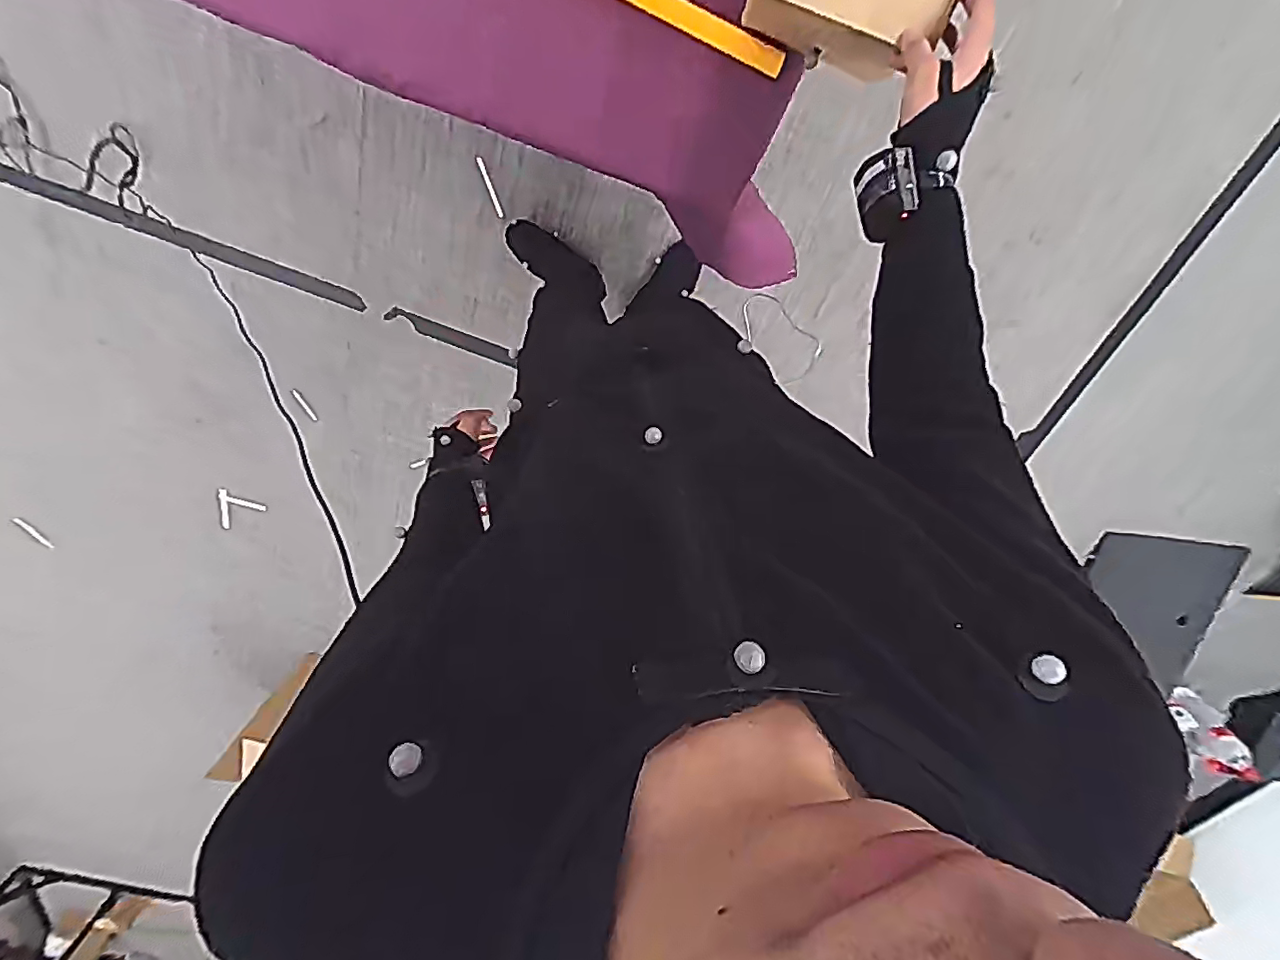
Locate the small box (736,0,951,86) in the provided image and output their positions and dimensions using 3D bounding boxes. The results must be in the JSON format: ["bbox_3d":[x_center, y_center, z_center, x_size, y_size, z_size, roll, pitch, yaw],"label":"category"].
[{"bbox_3d":[0.210,-0.517,0.534,0.179,0.176,0.168,17,121,-7],"label":"small box"}]
